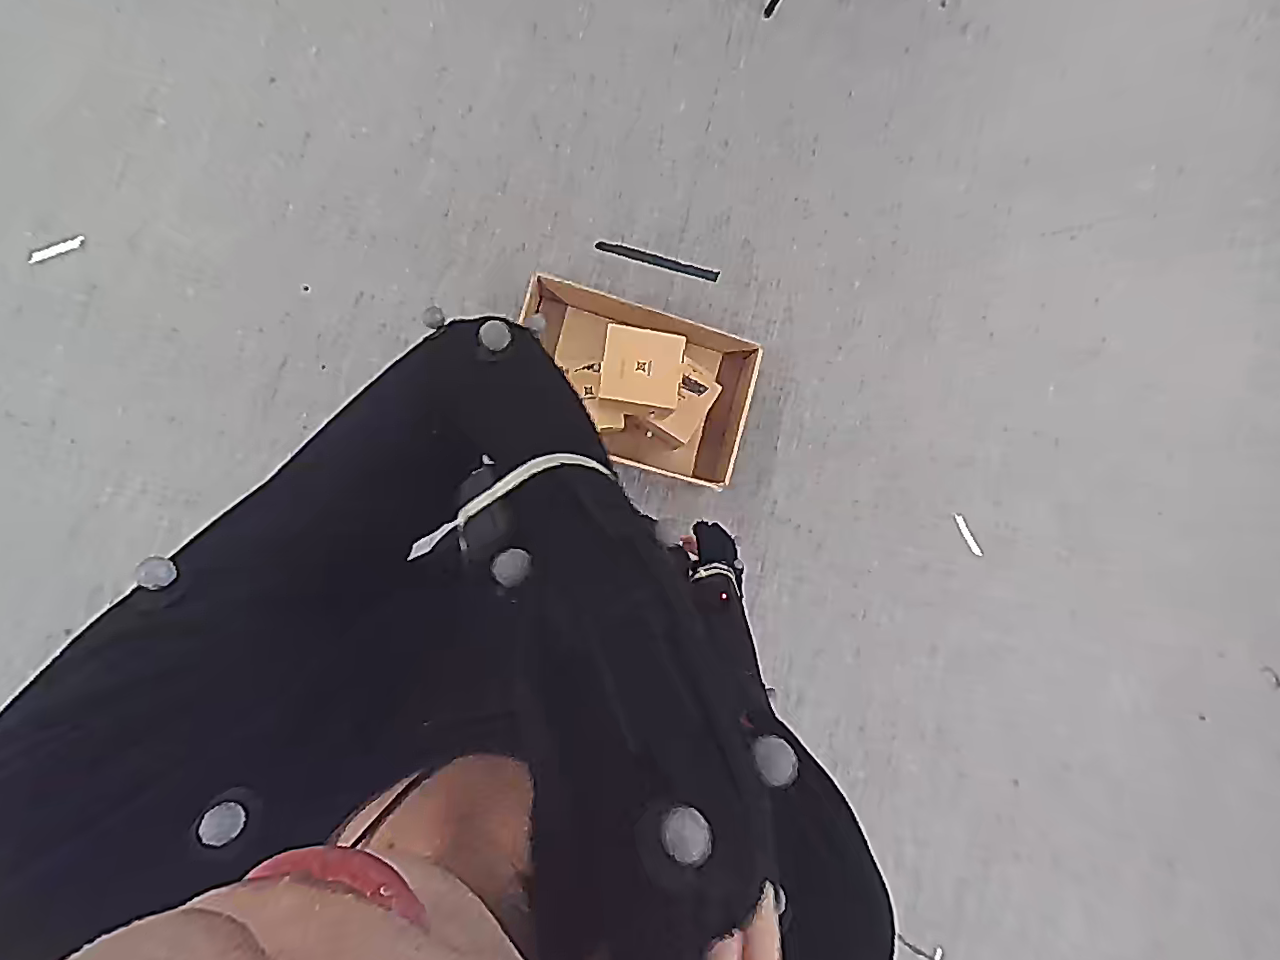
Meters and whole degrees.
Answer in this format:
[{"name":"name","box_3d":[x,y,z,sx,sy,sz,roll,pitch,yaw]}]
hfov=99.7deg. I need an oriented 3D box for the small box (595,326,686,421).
[{"name":"small box","box_3d":[-0.004,-0.235,1.242,0.179,0.176,0.168,7,87,-7]}]
